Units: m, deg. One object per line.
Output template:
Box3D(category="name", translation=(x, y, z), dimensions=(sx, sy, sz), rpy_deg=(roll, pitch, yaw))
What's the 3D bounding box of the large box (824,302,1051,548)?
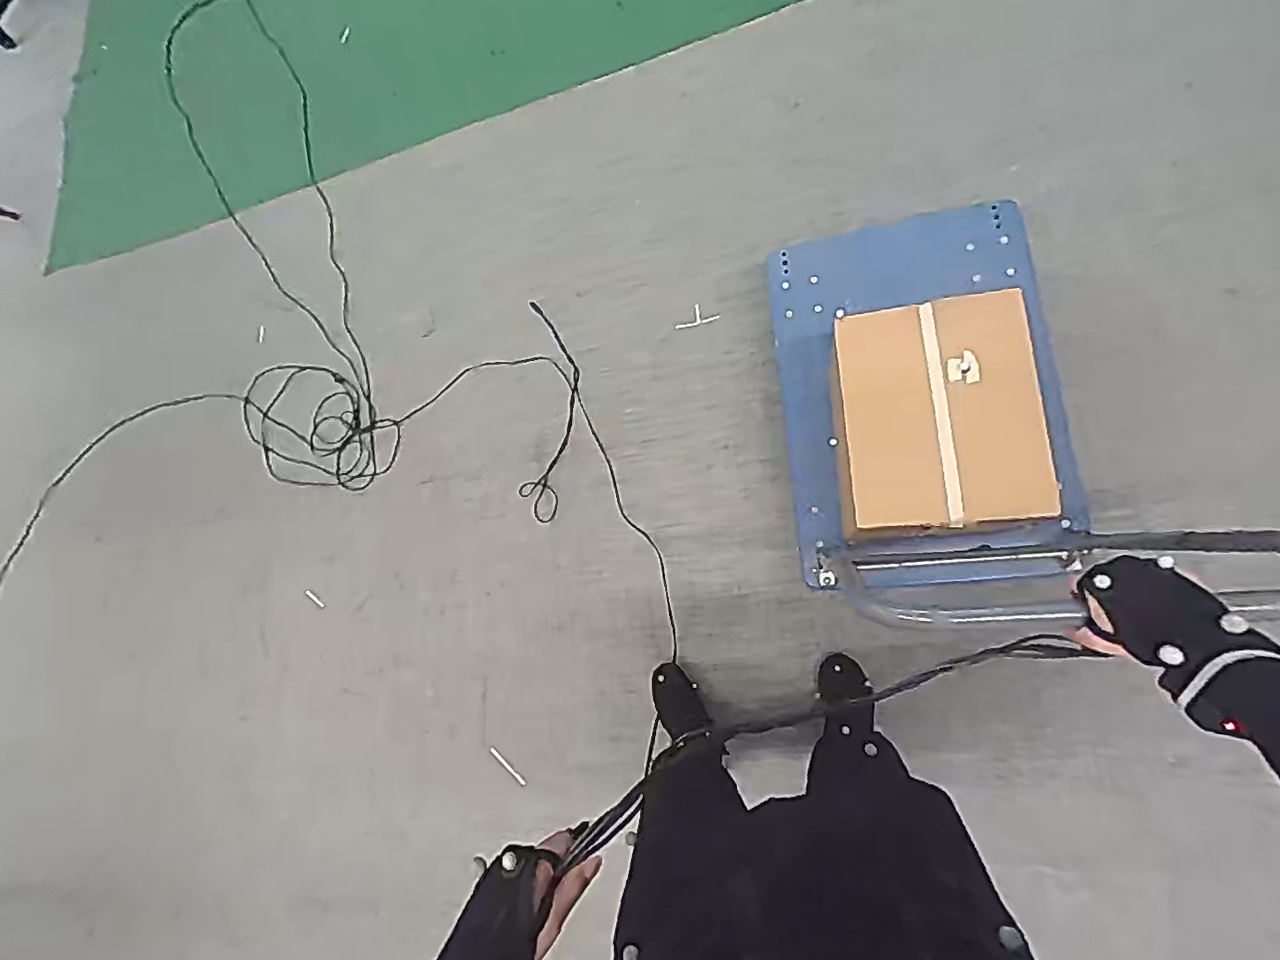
Box3D(category="large box", translation=(0.558, -0.081, 1.099), dimensions=(0.320, 0.320, 0.408), rpy_deg=(-5, 78, 15))
